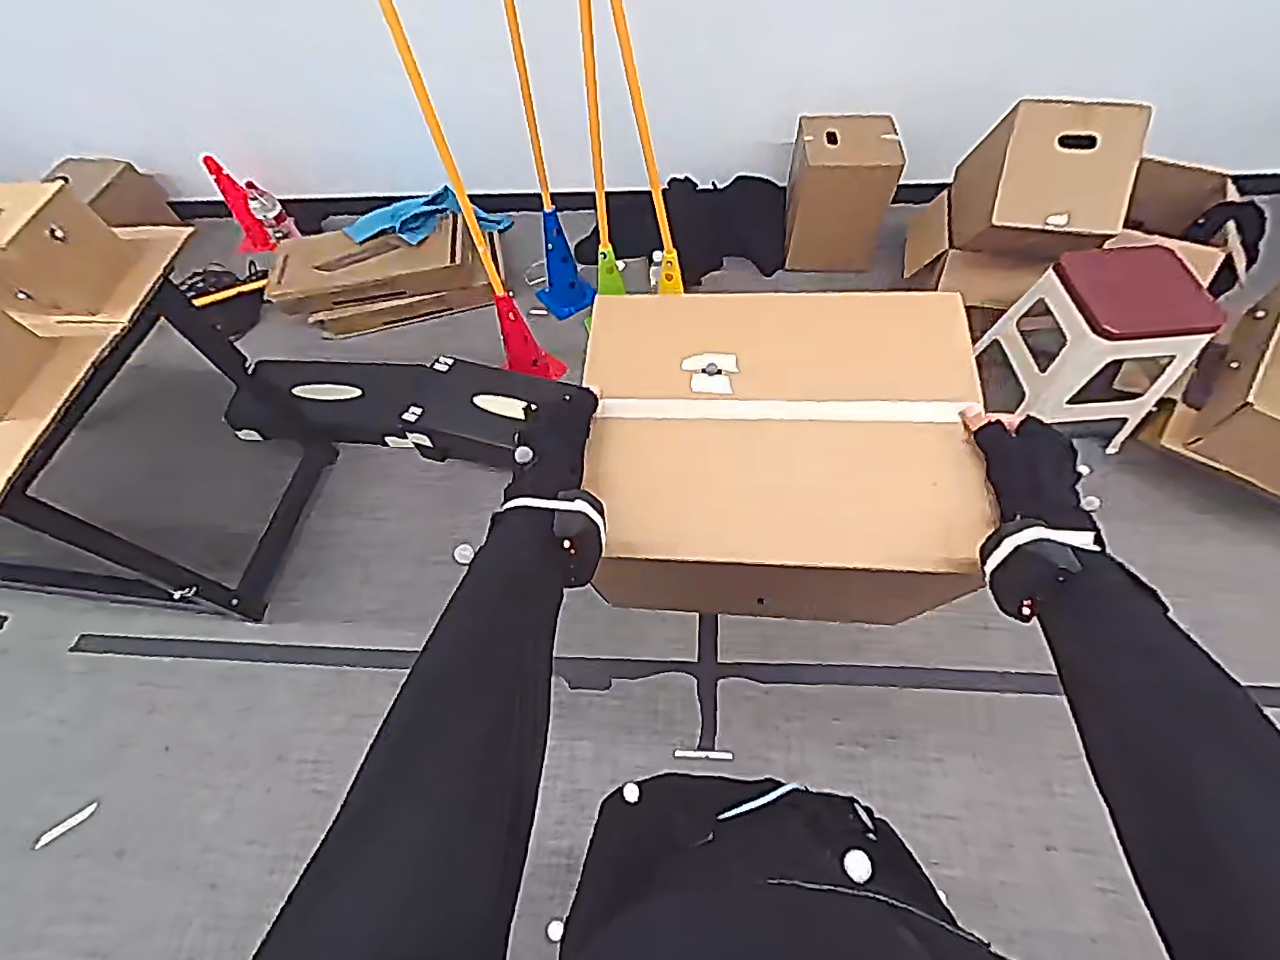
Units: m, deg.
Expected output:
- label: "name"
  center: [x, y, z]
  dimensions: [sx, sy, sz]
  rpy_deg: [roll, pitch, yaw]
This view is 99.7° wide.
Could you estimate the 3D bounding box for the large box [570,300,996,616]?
- label: "large box"
  center: [0.155, -0.006, 0.703]
  dimensions: [0.408, 0.320, 0.320]
  rpy_deg: [2, 67, 8]
